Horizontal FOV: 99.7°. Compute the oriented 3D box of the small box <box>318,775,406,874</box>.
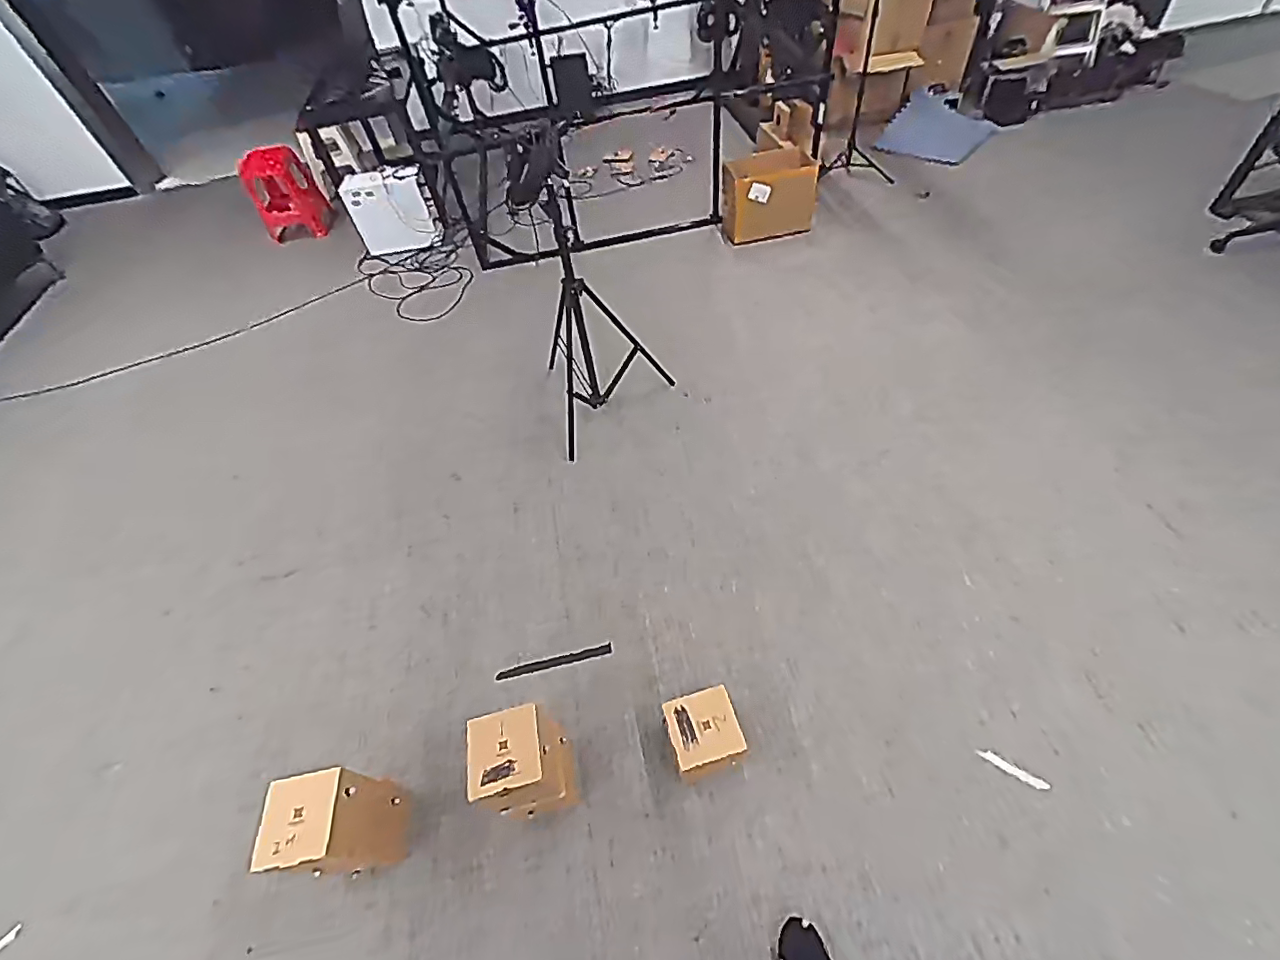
[{"bbox_3d":[-0.714,0.873,1.366,0.168,0.176,0.179,-11,50,0],"label":"small box"}]

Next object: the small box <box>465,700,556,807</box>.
[{"bbox_3d":[-0.303,0.652,1.276,0.168,0.176,0.179,-14,49,-4],"label":"small box"}]

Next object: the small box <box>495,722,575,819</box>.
[{"bbox_3d":[-0.273,0.757,1.399,0.168,0.176,0.179,-14,50,-4],"label":"small box"}]

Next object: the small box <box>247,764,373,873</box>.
[{"bbox_3d":[-0.739,0.775,1.236,0.168,0.176,0.179,-11,51,0],"label":"small box"}]
